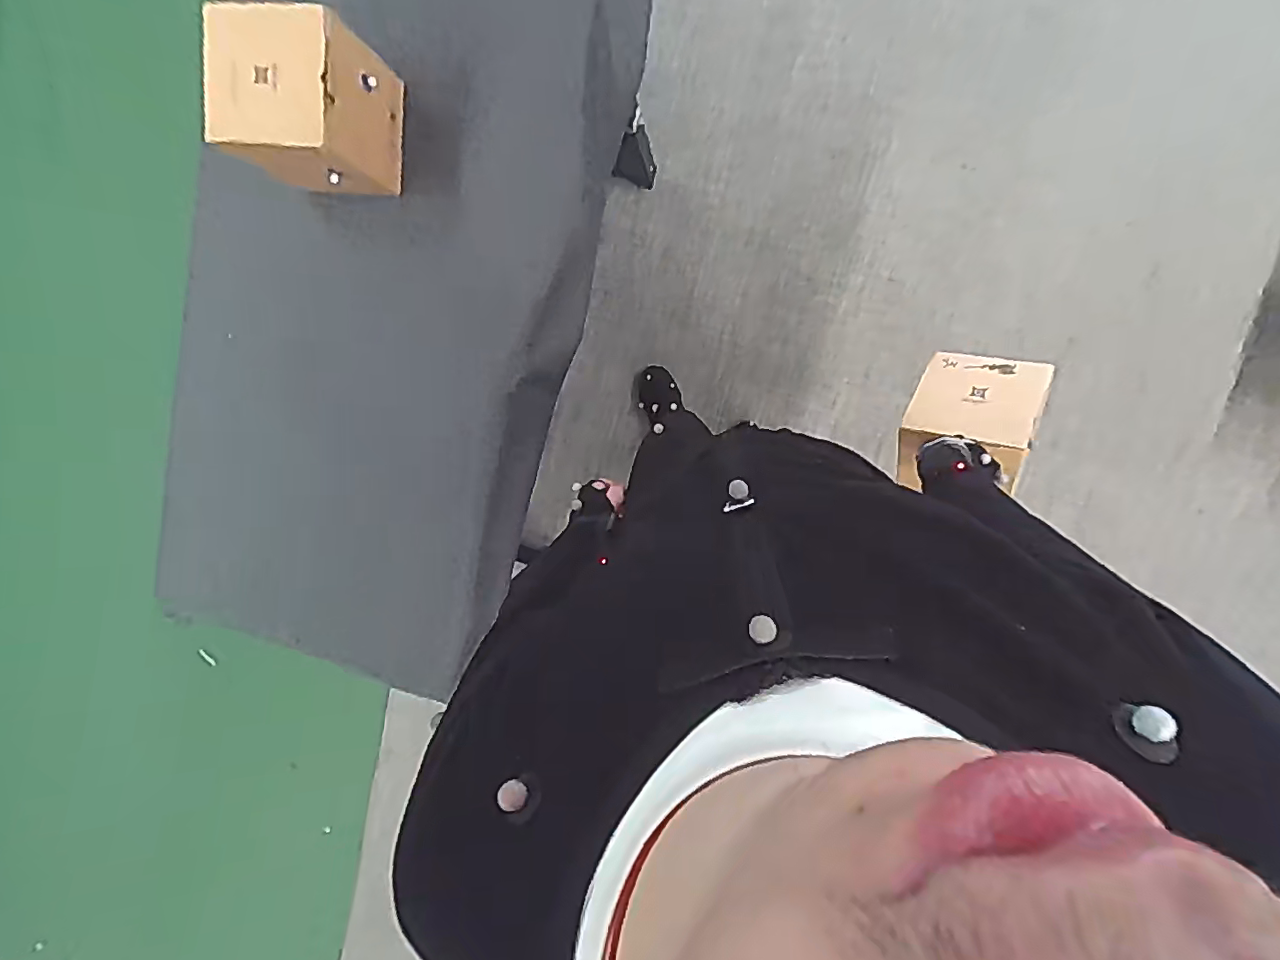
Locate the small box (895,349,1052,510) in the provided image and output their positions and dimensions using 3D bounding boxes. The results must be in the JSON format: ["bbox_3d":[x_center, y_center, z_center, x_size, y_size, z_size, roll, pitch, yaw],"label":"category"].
[{"bbox_3d":[0.523,-0.079,0.865,0.168,0.176,0.179,20,64,33],"label":"small box"}]

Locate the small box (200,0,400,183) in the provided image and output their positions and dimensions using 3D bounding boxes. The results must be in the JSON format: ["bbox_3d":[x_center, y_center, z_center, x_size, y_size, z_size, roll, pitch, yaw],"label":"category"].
[{"bbox_3d":[-0.461,-0.536,0.754,0.179,0.176,0.168,7,97,8],"label":"small box"}]
